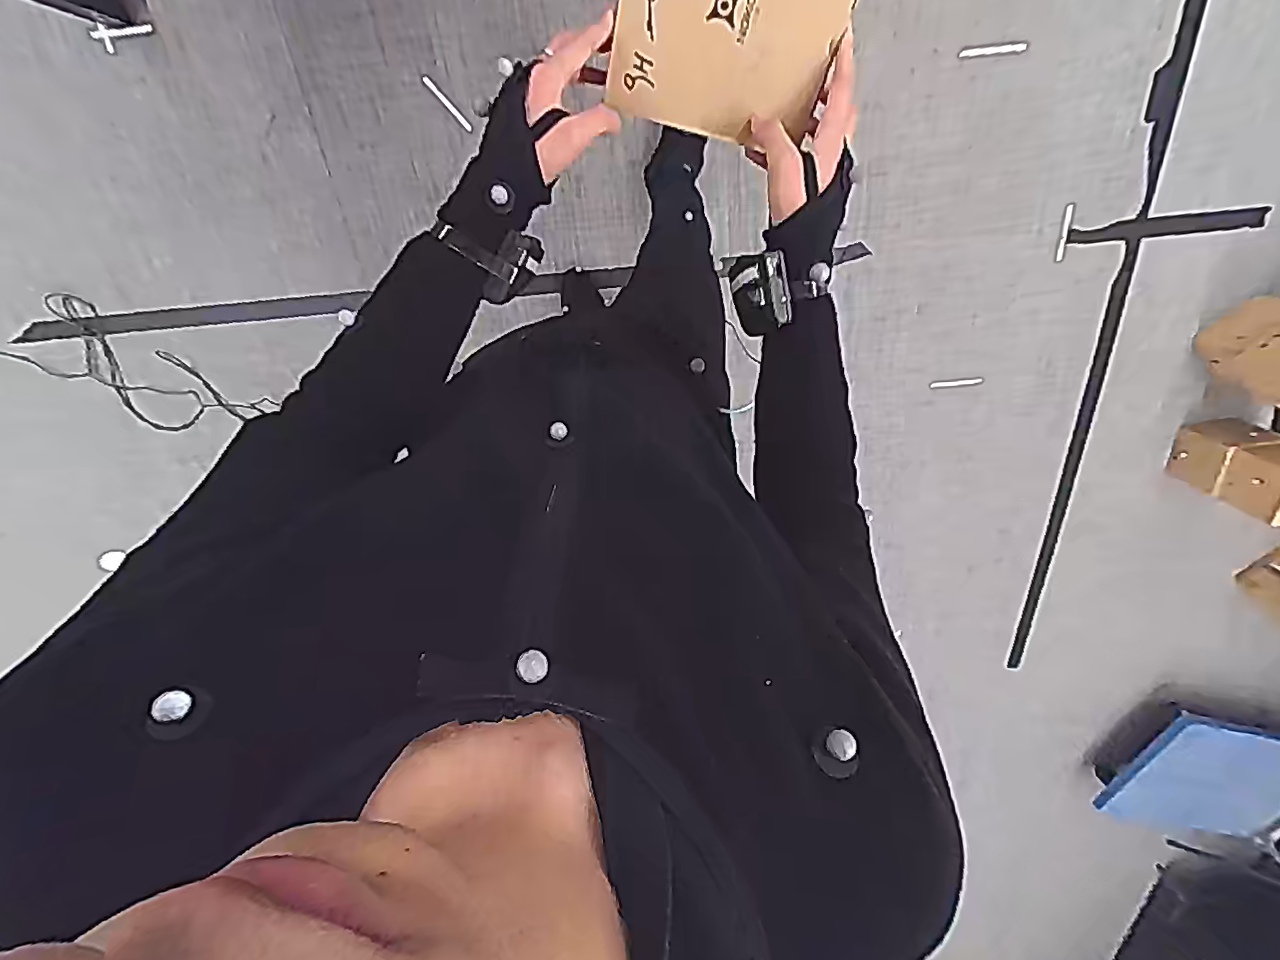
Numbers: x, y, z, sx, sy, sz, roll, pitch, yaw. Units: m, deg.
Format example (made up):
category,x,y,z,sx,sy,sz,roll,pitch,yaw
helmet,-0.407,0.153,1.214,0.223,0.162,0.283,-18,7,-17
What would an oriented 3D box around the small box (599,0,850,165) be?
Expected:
category,x,y,z,sx,sy,sz,roll,pitch,yaw
small box,0.067,-0.410,0.480,0.179,0.176,0.168,10,130,-10
